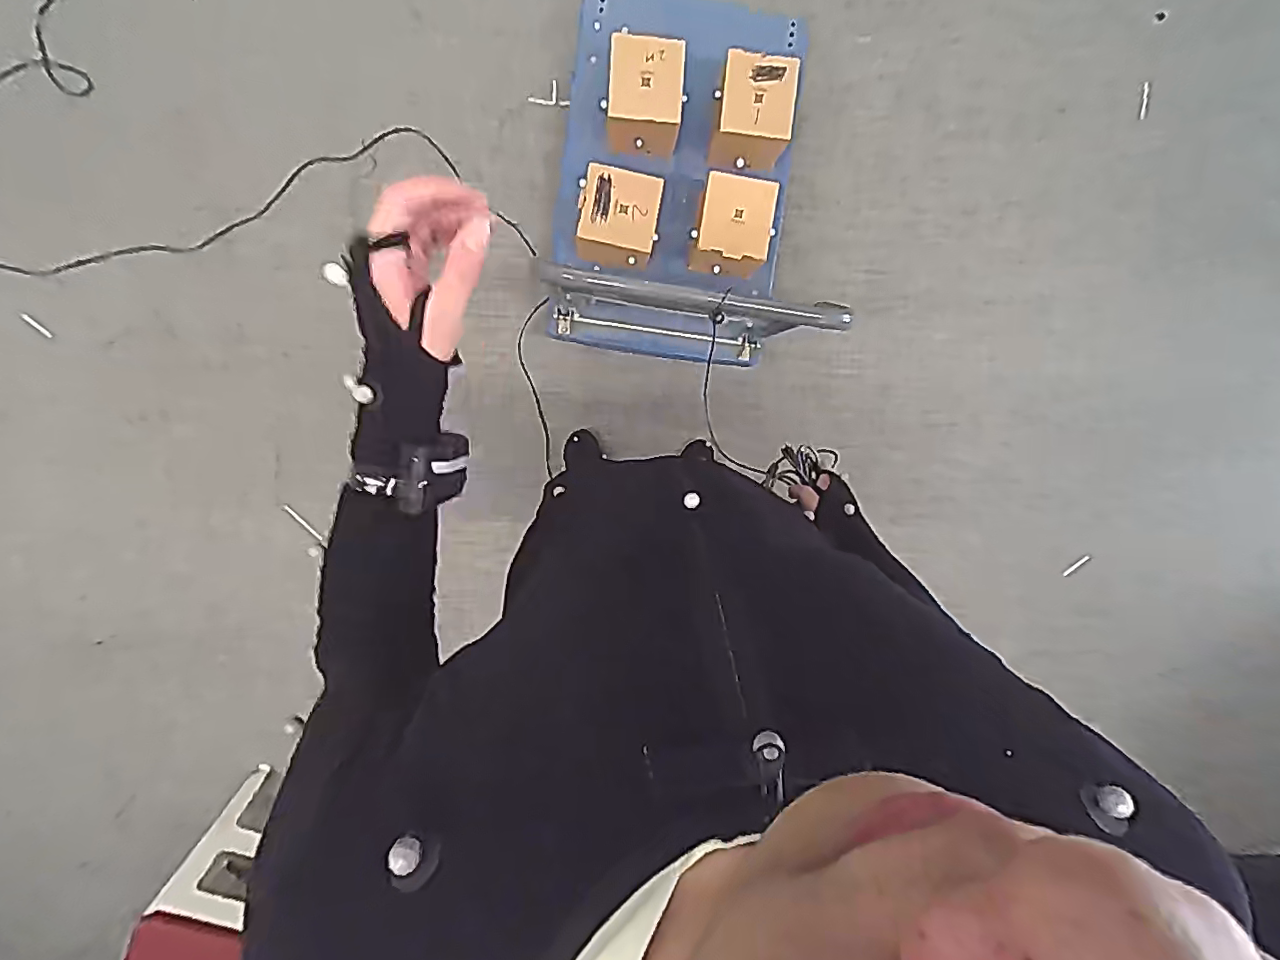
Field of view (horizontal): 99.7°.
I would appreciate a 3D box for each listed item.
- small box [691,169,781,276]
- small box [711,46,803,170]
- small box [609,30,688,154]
[{"bbox_3d":[0.226,-0.617,1.316,0.168,0.176,0.179,8,96,-4],"label":"small box"},{"bbox_3d":[0.271,-0.875,1.287,0.168,0.176,0.179,6,97,-3],"label":"small box"},{"bbox_3d":[0.015,-0.899,1.271,0.168,0.176,0.179,4,96,-4],"label":"small box"}]
